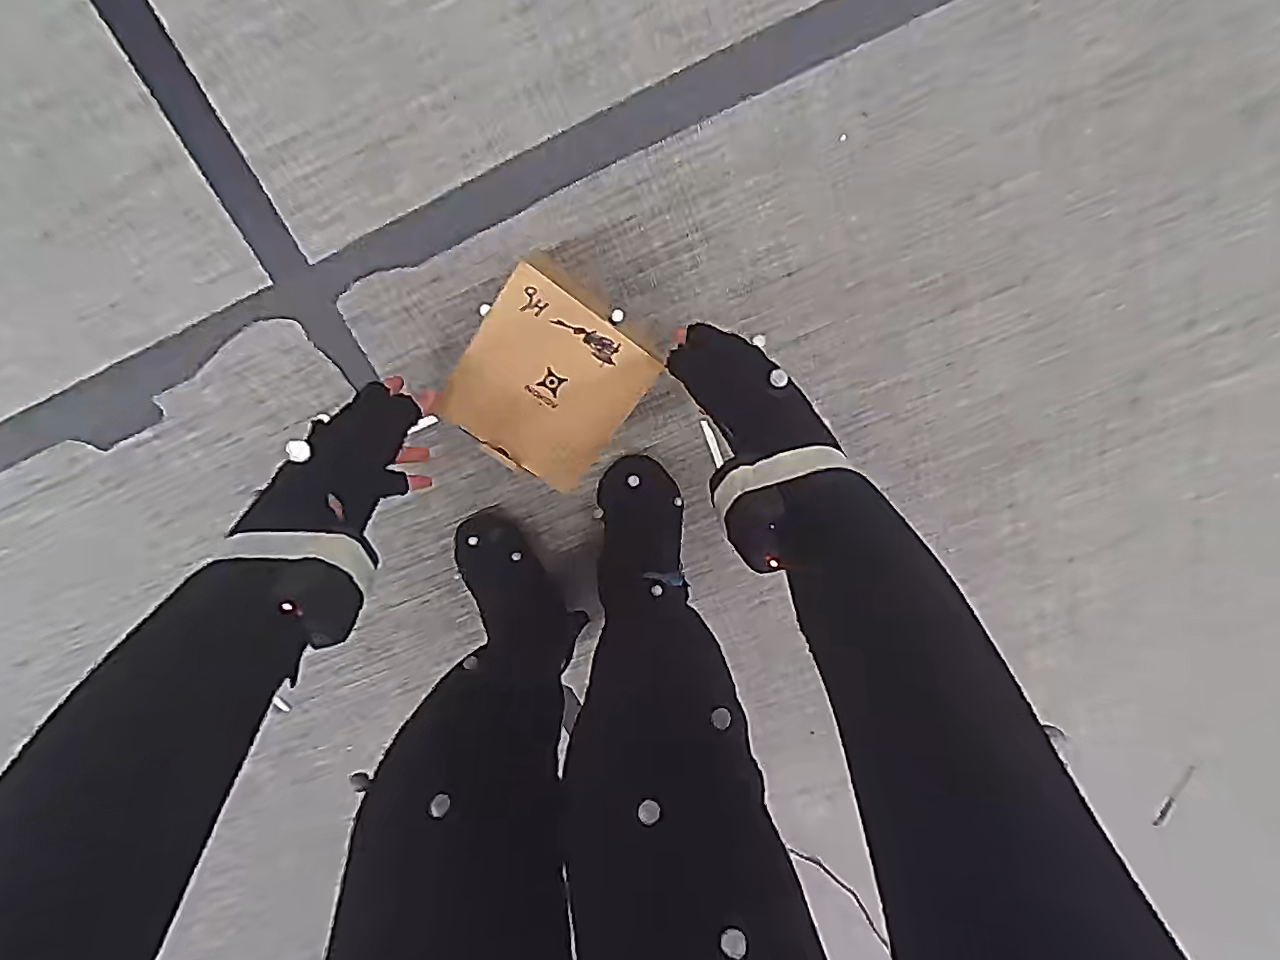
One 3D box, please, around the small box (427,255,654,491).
[{"bbox_3d":[-0.101,-0.125,0.602,0.168,0.176,0.179,31,109,-16],"label":"small box"}]
